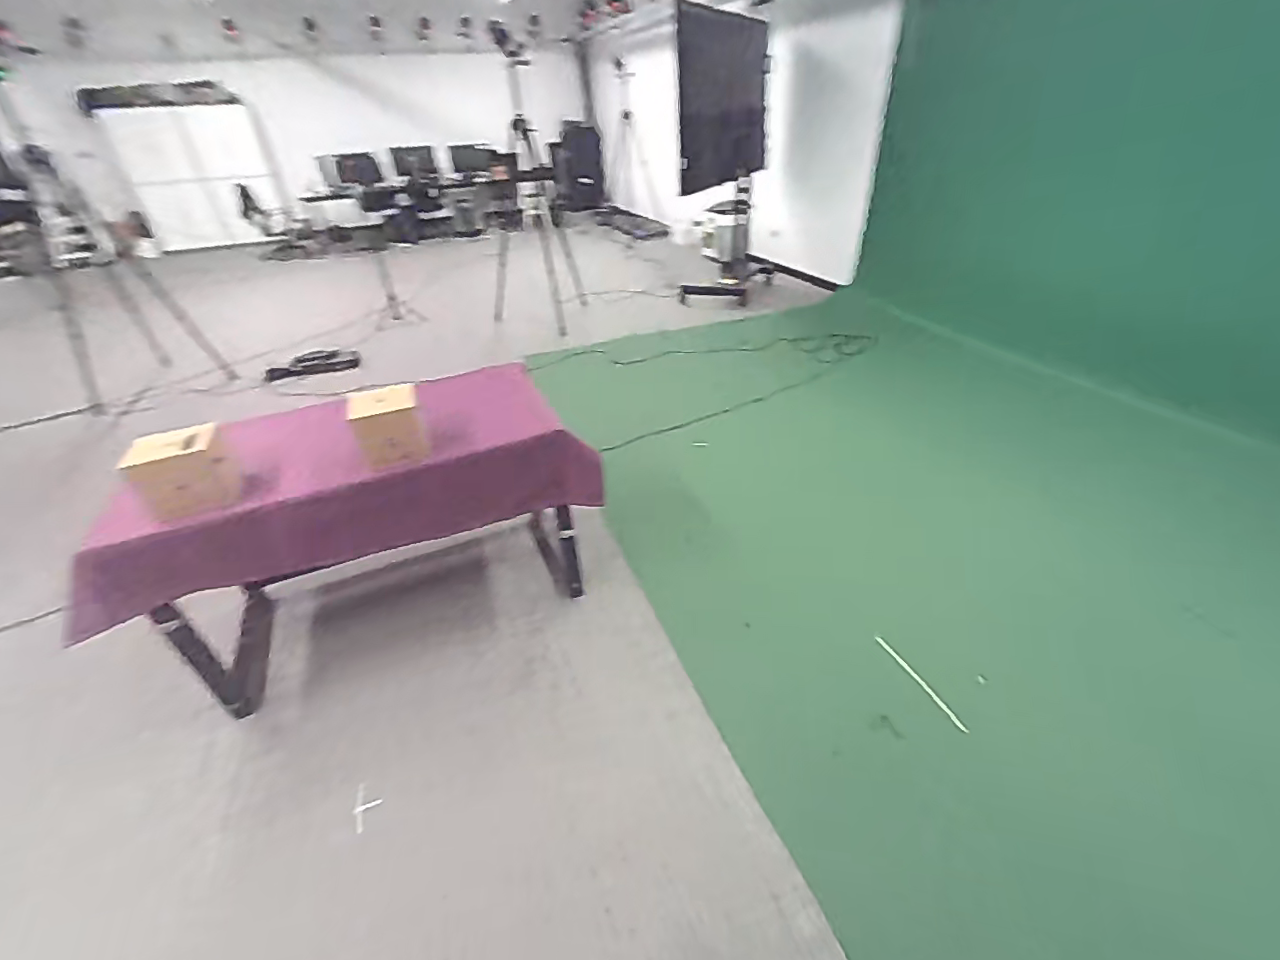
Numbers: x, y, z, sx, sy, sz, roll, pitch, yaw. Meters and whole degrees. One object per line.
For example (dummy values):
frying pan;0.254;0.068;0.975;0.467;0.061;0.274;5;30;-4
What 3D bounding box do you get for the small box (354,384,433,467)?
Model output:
small box;-0.698;-0.151;1.544;0.168;0.176;0.179;-14;35;-16
